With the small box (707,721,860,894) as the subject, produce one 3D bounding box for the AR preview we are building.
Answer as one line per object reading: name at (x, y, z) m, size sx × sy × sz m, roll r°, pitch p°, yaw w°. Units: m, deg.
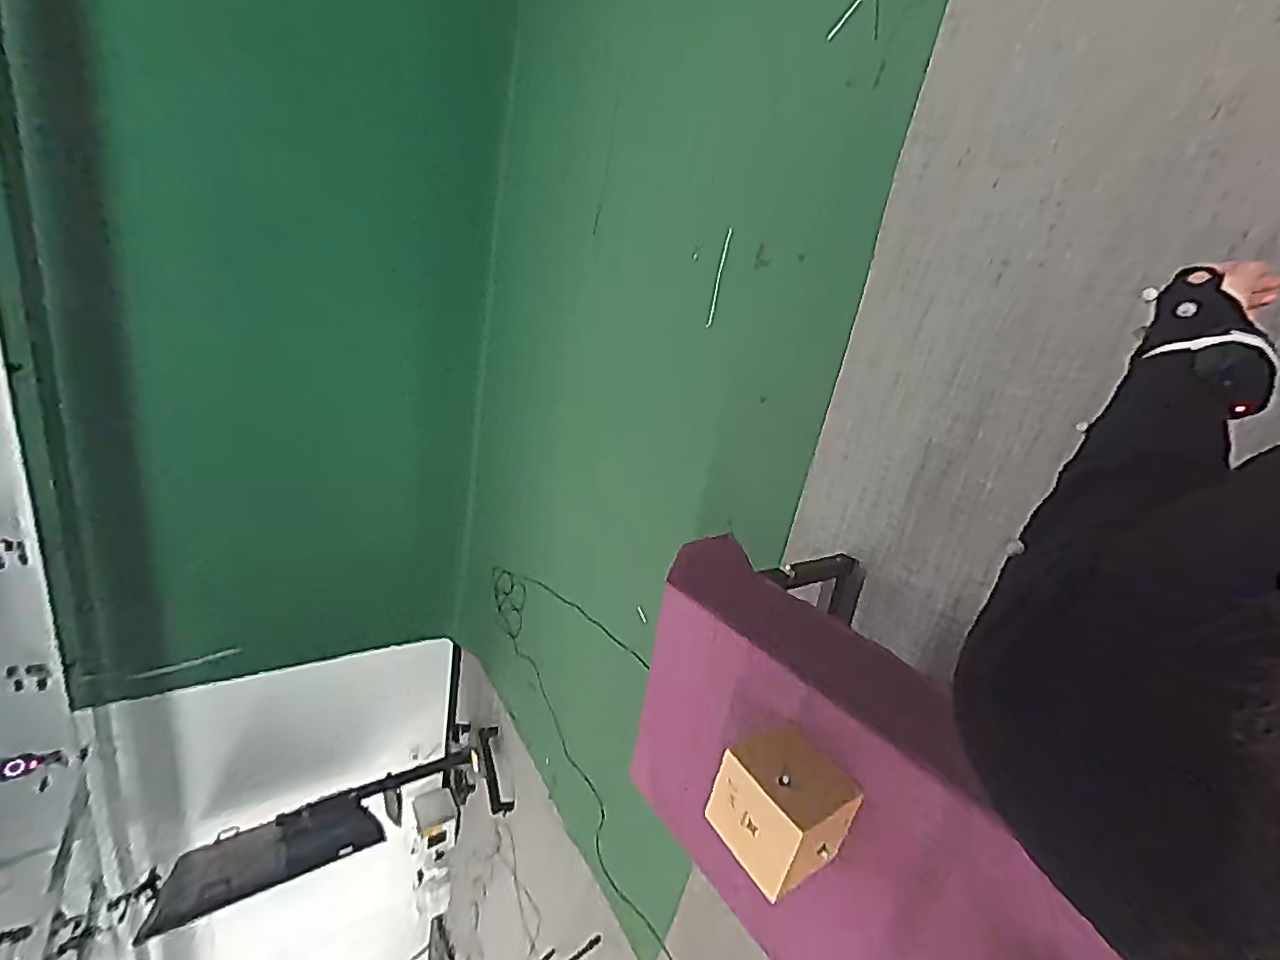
small box at (0.254, 0.563, 0.958) m, size 0.179 × 0.176 × 0.168 m, roll 37°, pitch 121°, yaw 48°
